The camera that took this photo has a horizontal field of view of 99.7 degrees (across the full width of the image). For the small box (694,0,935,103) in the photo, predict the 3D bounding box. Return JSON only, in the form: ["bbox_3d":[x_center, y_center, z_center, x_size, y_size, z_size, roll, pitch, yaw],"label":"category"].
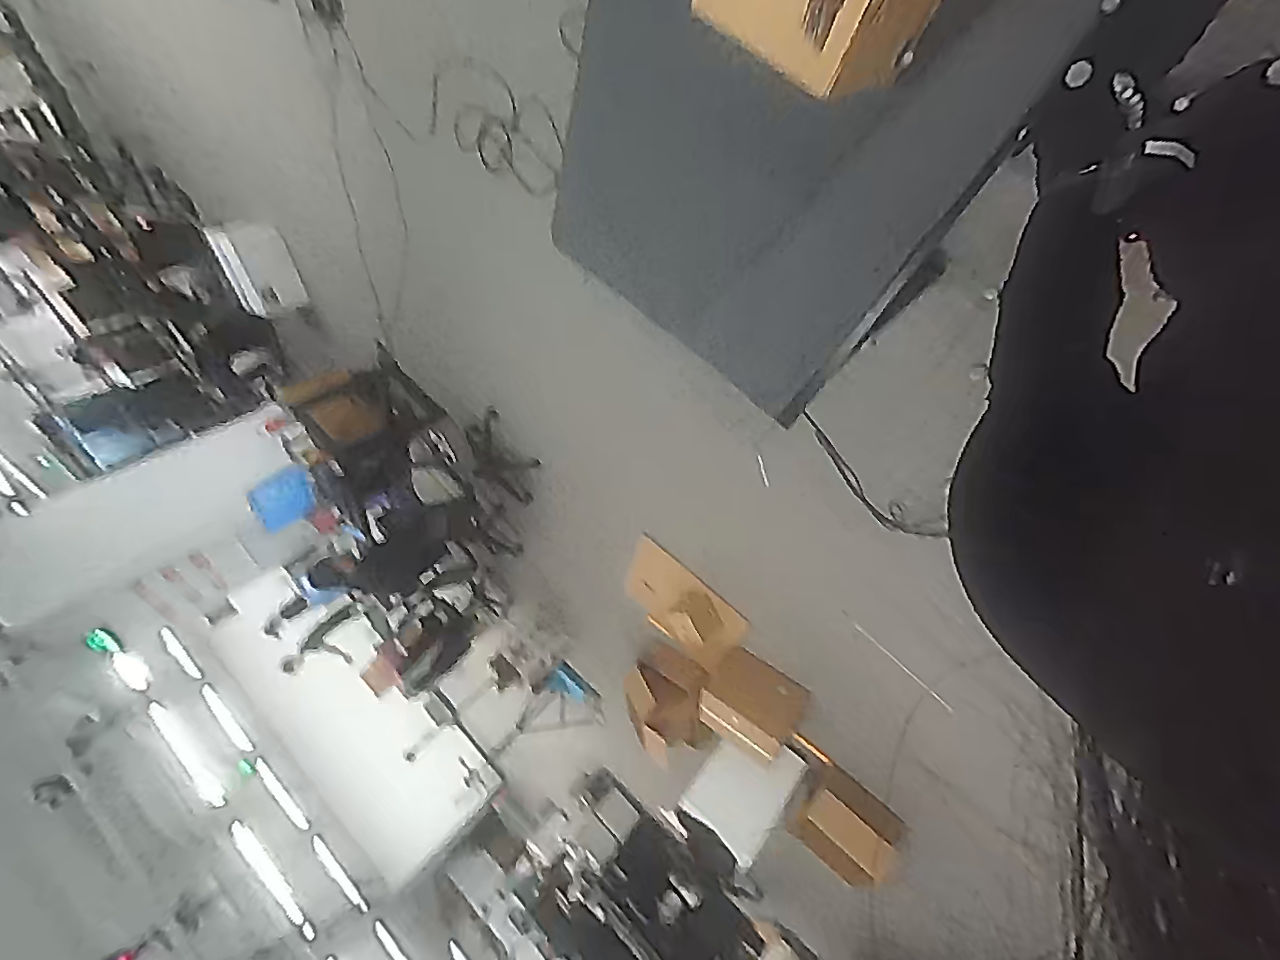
[{"bbox_3d":[0.189,-0.495,0.507,0.179,0.176,0.168,44,144,13],"label":"small box"}]
